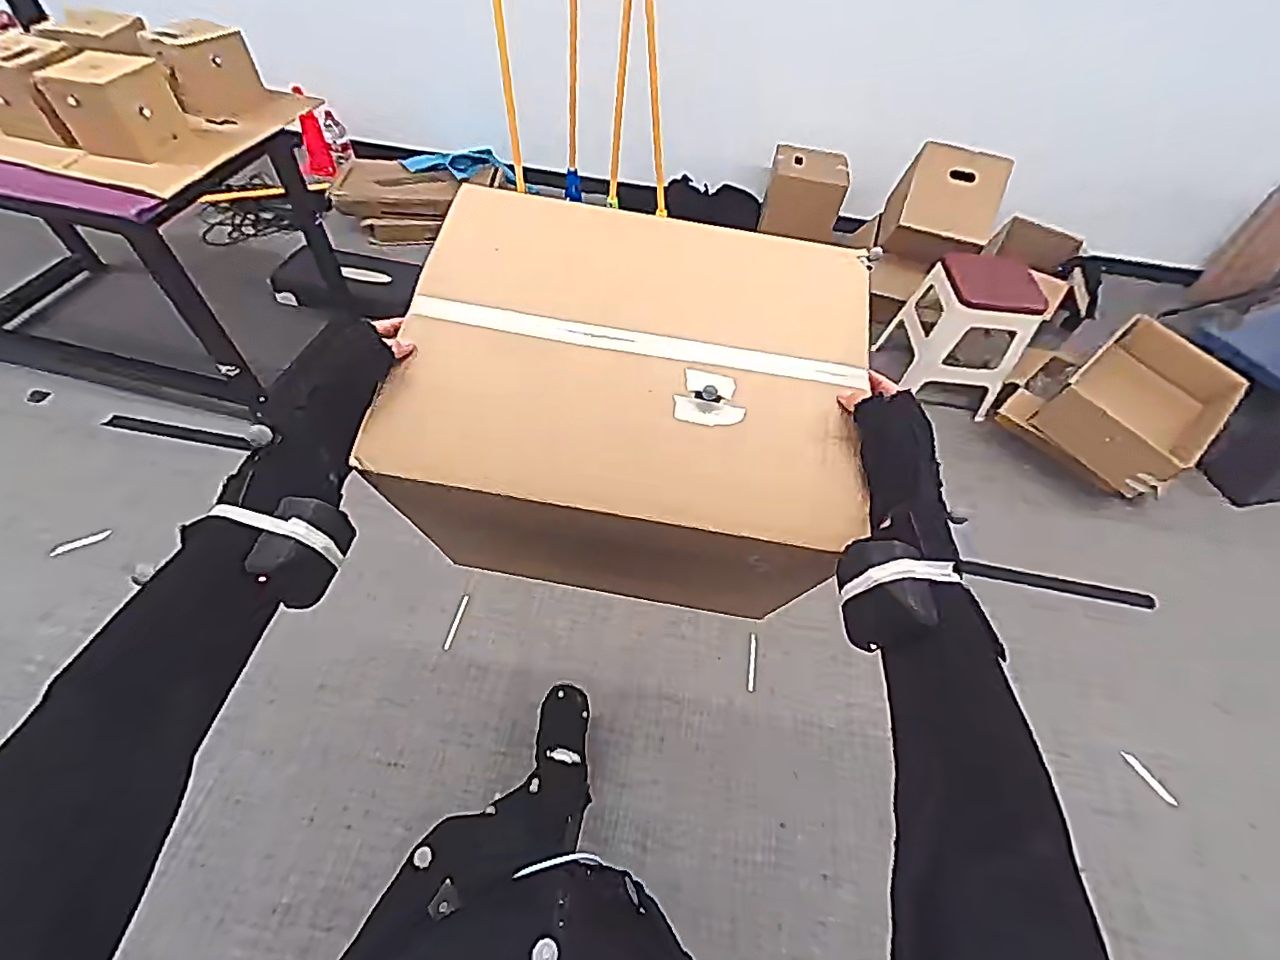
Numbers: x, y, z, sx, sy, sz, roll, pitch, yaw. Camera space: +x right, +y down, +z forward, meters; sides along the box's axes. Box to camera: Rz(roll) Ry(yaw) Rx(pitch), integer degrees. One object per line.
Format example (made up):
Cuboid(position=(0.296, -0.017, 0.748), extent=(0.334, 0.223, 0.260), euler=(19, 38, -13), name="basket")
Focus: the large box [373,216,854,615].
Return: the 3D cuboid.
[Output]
Cuboid(position=(-0.012, -0.047, 0.631), extent=(0.408, 0.320, 0.320), euler=(10, 68, 0), name="large box")
